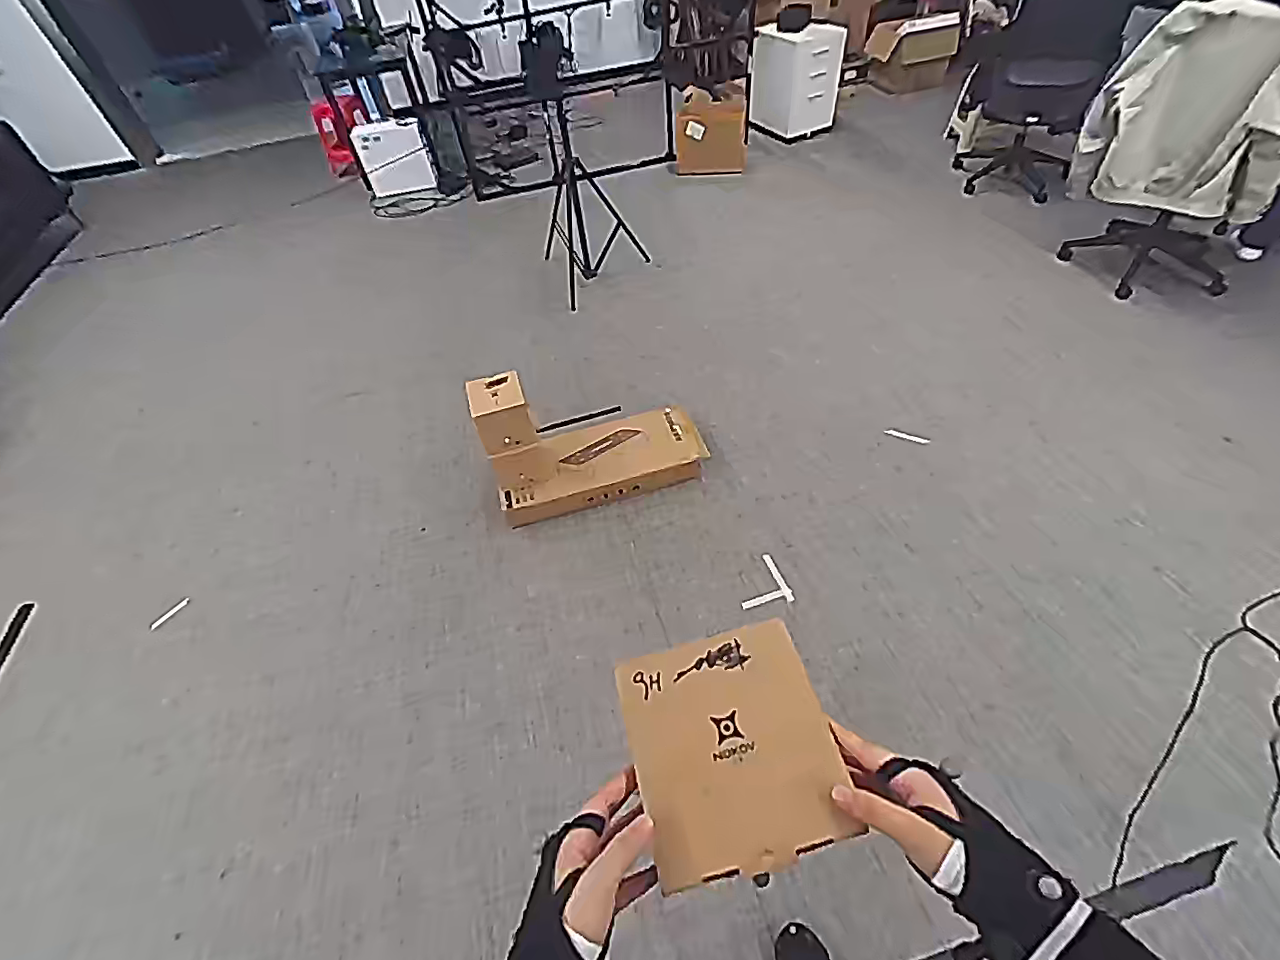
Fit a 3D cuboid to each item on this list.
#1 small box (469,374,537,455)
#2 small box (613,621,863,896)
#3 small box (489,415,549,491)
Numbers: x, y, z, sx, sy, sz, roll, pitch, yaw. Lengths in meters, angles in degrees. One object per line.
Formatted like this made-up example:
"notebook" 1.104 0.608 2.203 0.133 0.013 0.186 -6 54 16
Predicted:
"small box" -0.441 -0.209 1.746 0.168 0.176 0.179 -17 49 -8
"small box" 0.081 0.261 0.517 0.168 0.176 0.179 -15 56 -4
"small box" -0.420 -0.090 1.858 0.168 0.176 0.179 -16 49 -7
